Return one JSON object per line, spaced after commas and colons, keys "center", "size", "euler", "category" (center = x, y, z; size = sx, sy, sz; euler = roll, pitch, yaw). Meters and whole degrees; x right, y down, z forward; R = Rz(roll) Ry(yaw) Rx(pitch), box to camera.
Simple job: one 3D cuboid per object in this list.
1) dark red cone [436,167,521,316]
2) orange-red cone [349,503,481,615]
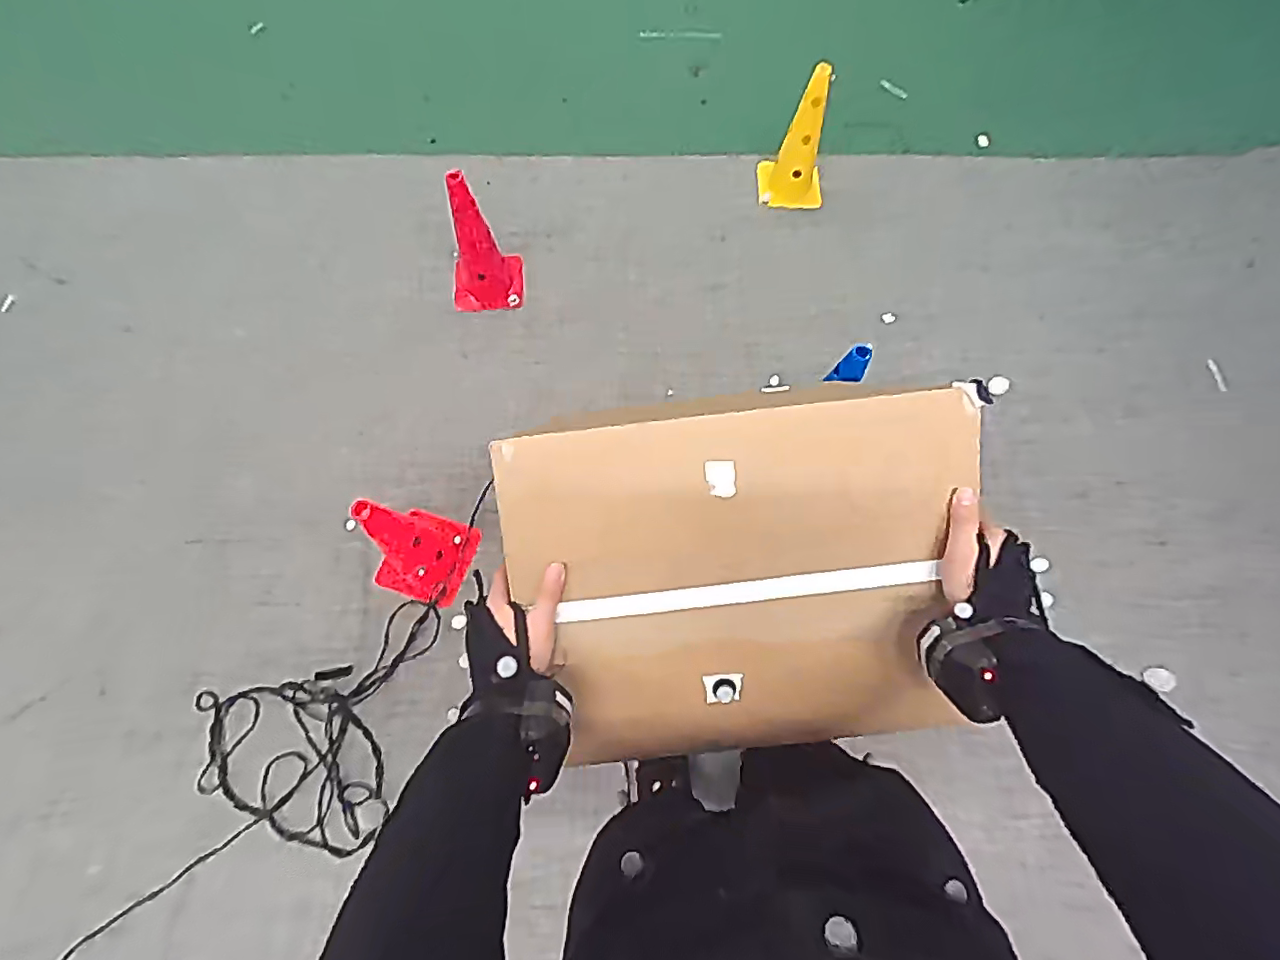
{"center": [-0.454, -0.640, 1.449], "size": [0.202, 0.394, 0.201], "euler": [-8, 64, -3], "category": "dark red cone"}
{"center": [-0.505, 0.132, 1.134], "size": [0.199, 0.360, 0.198], "euler": [17, 67, 9], "category": "orange-red cone"}
